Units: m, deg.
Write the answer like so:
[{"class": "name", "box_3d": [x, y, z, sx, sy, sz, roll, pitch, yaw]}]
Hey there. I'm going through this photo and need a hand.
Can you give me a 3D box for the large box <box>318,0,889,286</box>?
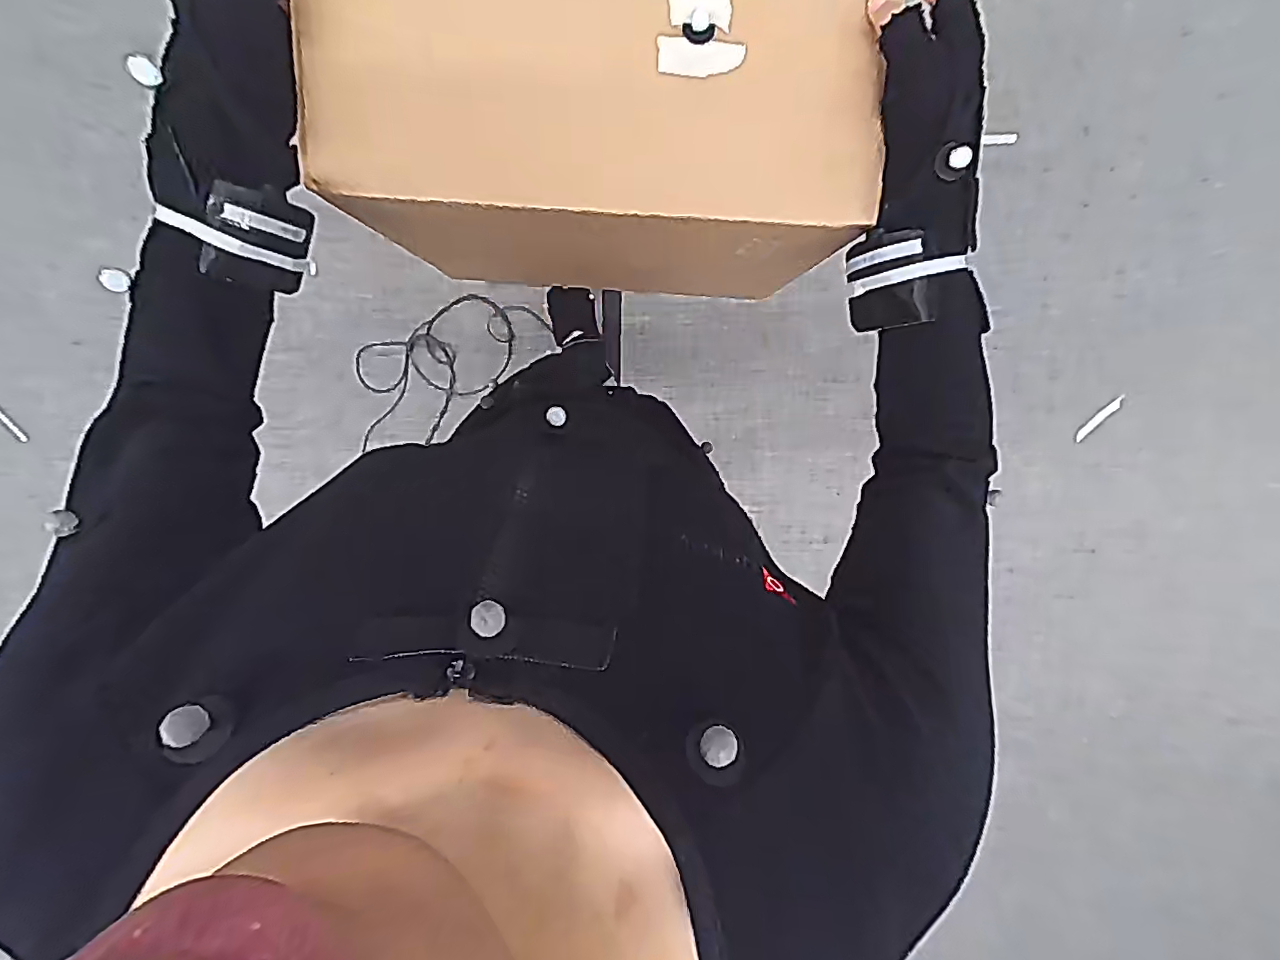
[{"class": "large box", "box_3d": [-0.027, -0.381, 0.519, 0.408, 0.320, 0.320, 3, 100, -2]}]
